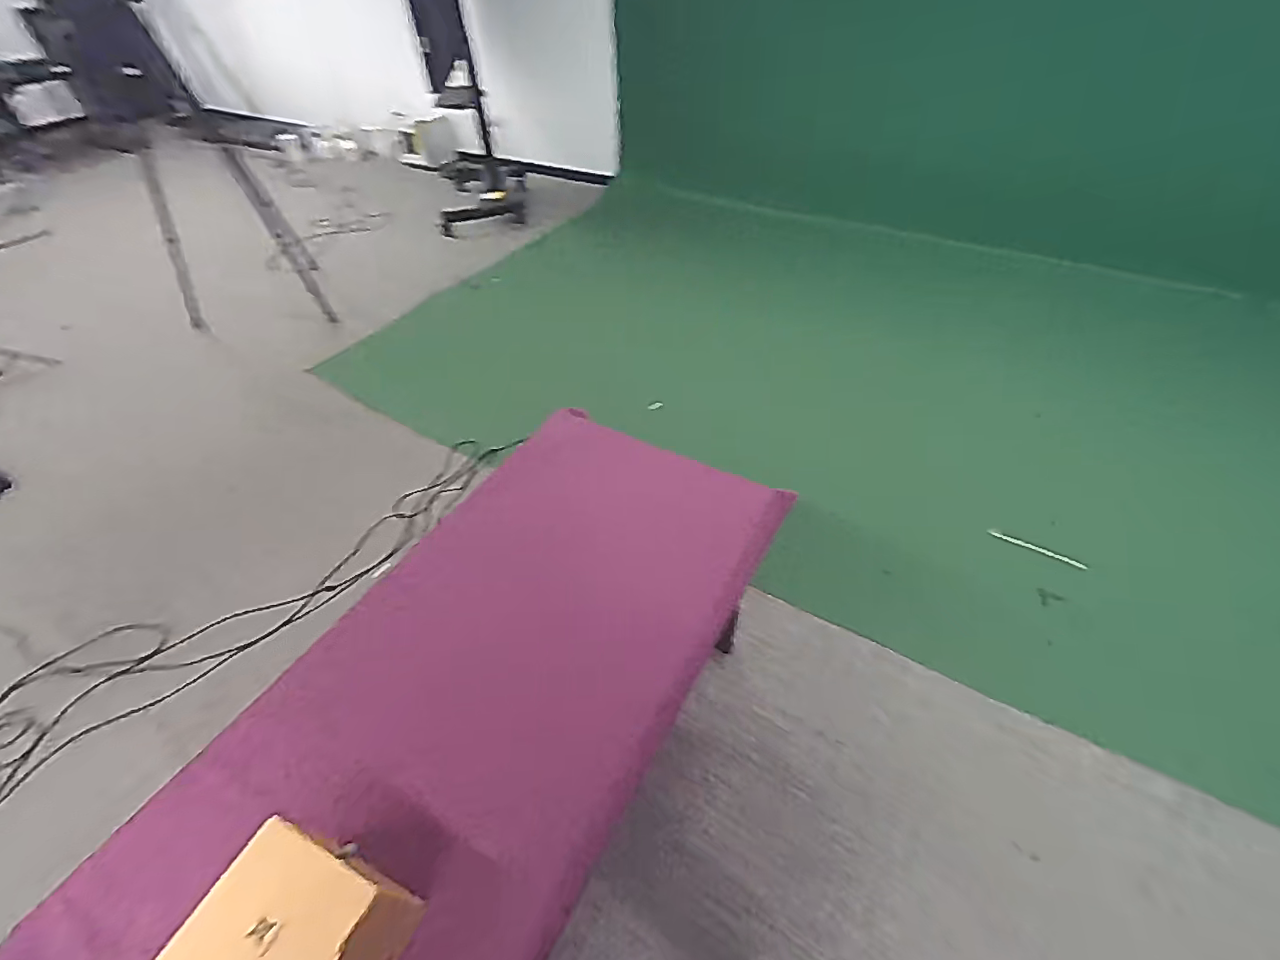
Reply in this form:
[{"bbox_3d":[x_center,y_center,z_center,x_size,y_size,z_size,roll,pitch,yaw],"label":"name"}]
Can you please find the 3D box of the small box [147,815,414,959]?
[{"bbox_3d":[-0.405,0.538,0.633,0.179,0.176,0.168,18,49,18],"label":"small box"}]
